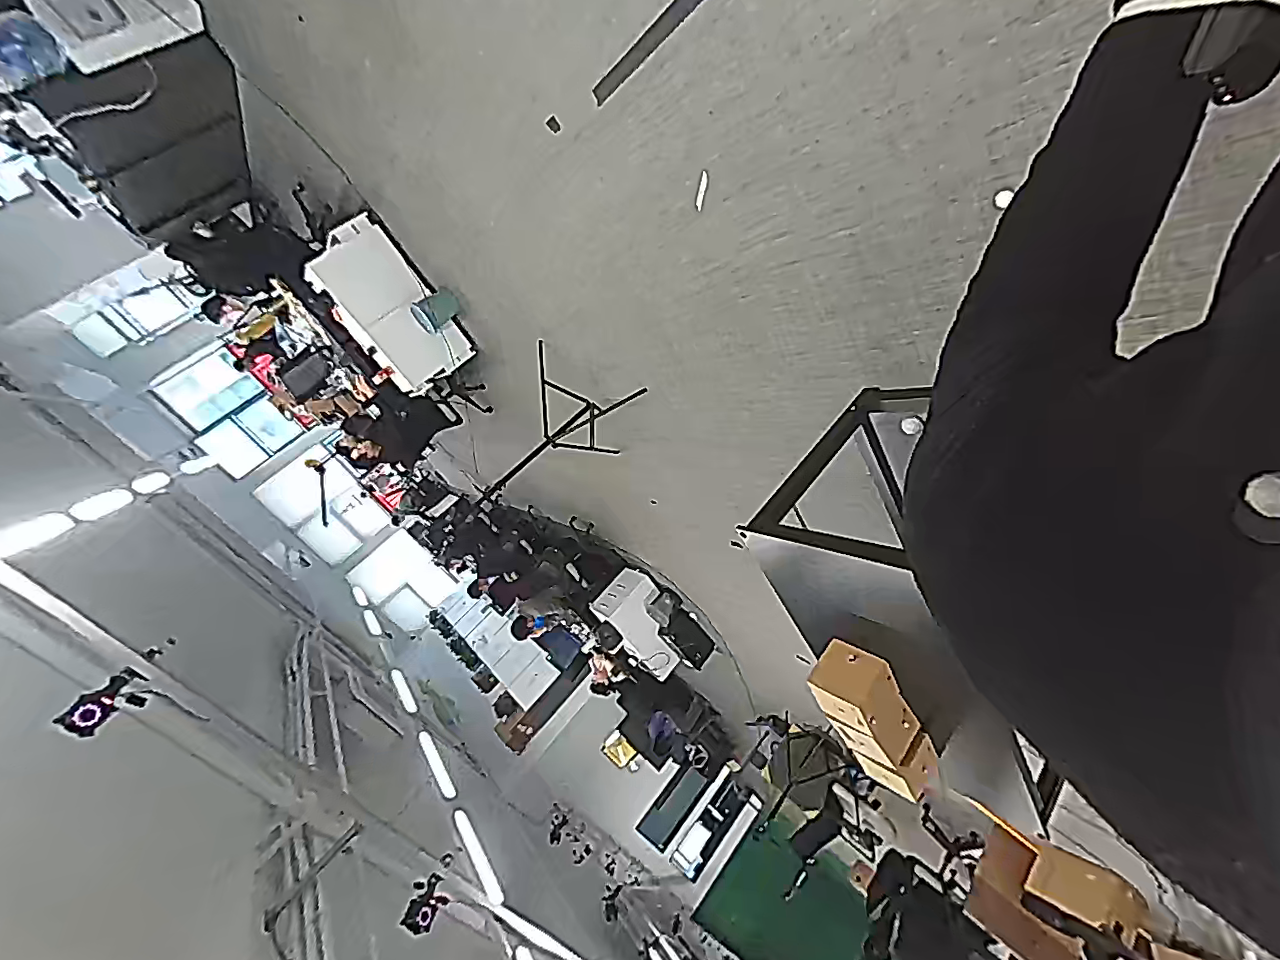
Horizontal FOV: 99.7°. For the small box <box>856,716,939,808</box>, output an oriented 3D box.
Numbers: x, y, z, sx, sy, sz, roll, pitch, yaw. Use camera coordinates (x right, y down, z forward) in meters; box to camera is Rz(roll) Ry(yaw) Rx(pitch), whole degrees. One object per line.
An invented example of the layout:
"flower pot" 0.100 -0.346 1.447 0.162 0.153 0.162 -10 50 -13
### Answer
"small box" 0.838 0.903 1.746 0.179 0.176 0.168 13 140 54
